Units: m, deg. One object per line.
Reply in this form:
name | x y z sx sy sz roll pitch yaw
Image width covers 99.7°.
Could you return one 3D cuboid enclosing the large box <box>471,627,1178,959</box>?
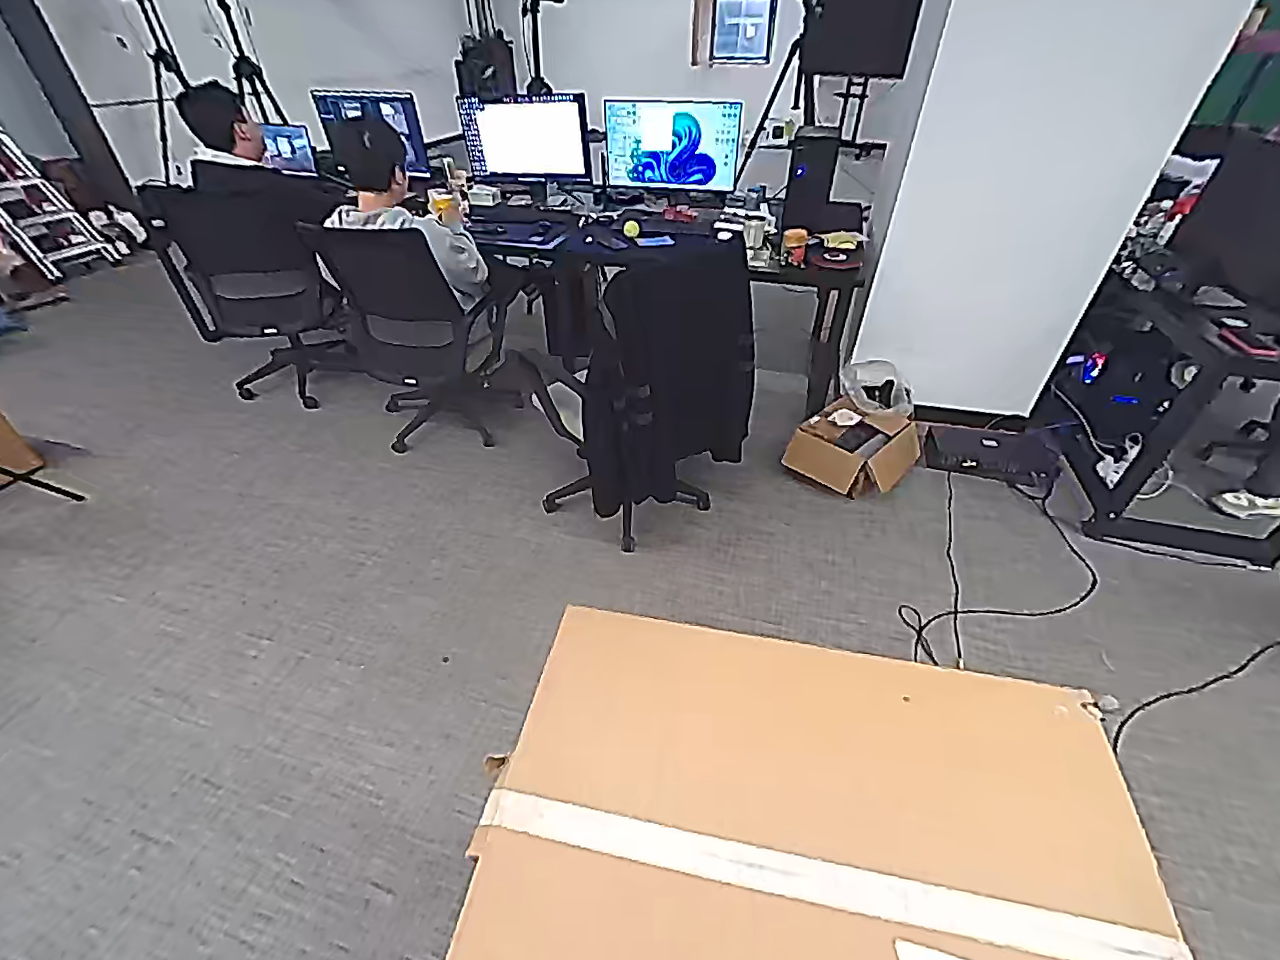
large box | 0.109 0.357 0.436 0.408 0.320 0.320 7 47 8
